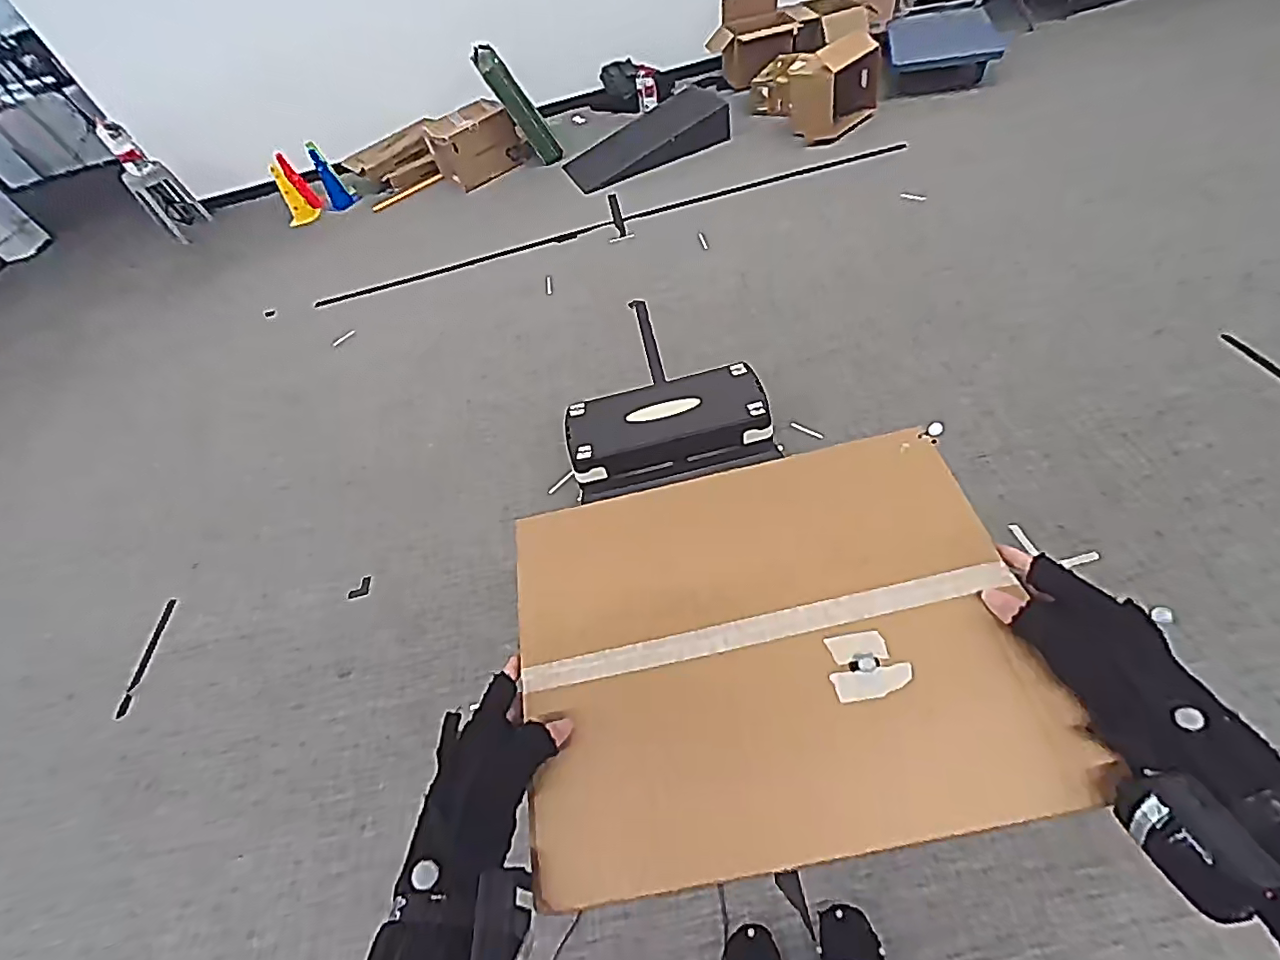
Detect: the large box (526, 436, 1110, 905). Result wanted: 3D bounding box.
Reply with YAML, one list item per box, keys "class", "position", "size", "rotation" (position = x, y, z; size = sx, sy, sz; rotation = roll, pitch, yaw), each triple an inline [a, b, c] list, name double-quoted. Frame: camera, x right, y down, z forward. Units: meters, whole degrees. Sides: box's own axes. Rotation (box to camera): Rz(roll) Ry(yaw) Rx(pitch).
- class: "large box"
  position: [0.126, 0.207, 0.578]
  size: [0.408, 0.320, 0.320]
  rotation: [-14, 57, 3]

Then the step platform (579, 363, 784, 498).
- class: "step platform"
  position: [0.135, -0.175, 1.850]
  size: [0.684, 0.204, 0.286]
  rotation: [-14, 51, 1]
